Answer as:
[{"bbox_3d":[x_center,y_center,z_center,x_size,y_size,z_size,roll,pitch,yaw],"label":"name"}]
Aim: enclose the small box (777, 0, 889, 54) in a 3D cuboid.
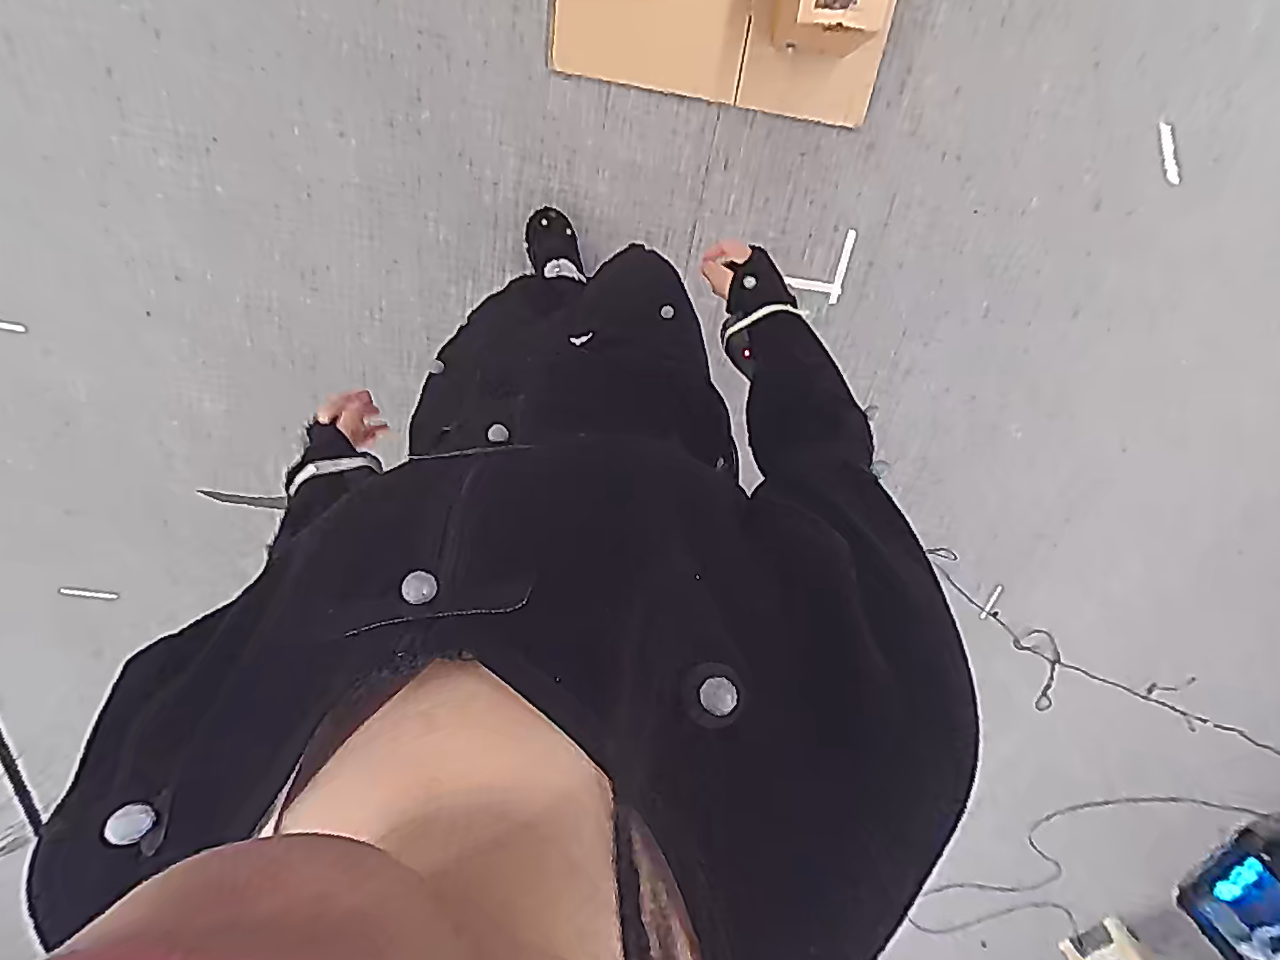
[{"bbox_3d":[0.373,-0.947,1.033,0.168,0.176,0.179,3,115,-5],"label":"small box"}]
